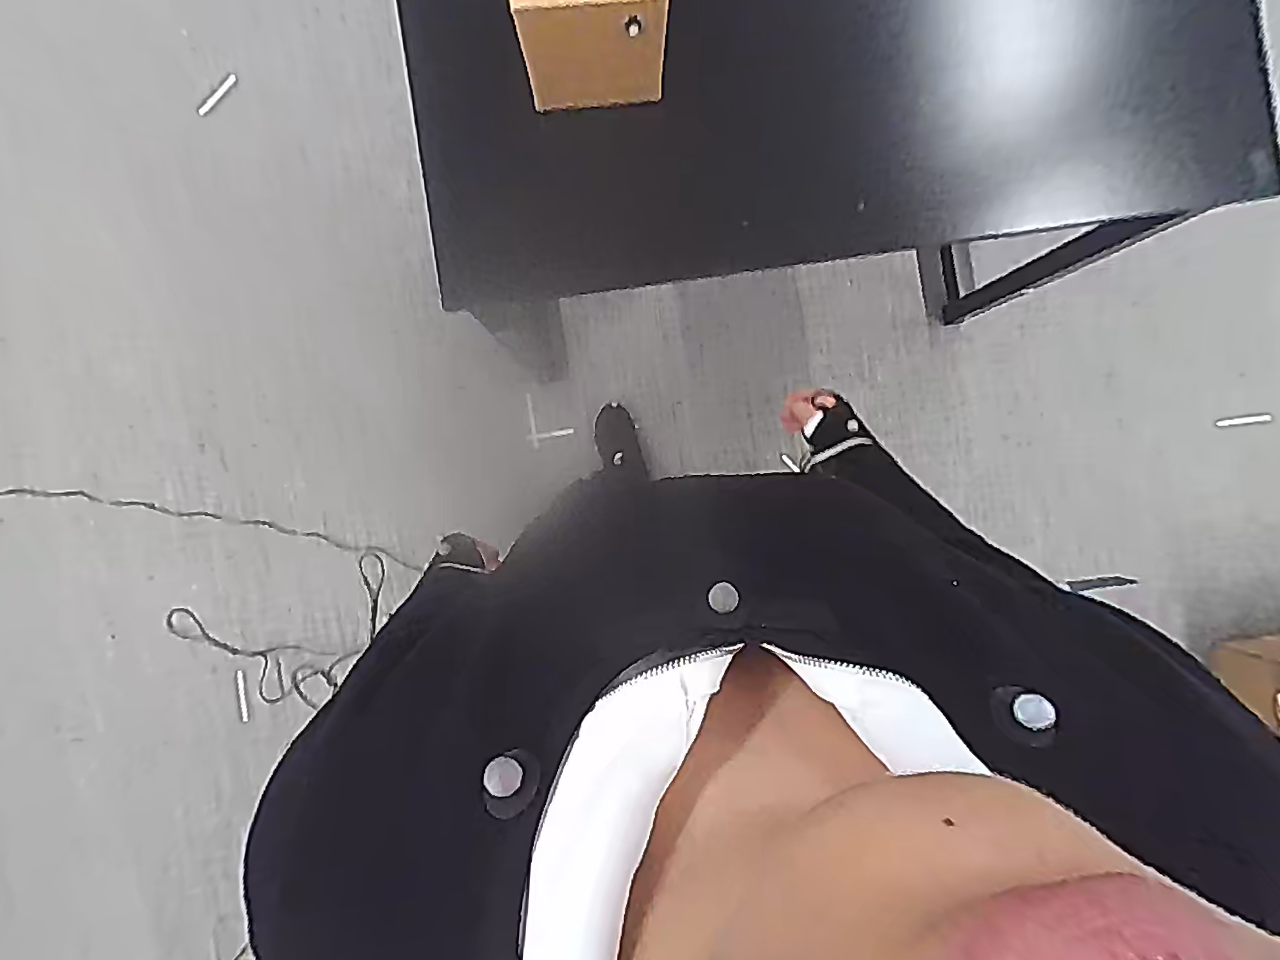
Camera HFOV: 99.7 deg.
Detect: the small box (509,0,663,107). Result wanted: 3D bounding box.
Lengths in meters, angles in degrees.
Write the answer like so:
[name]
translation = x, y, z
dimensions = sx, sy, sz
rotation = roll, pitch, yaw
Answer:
[small box]
translation = -0.068, -0.602, 0.674
dimensions = 0.179, 0.176, 0.168
rotation = -7, 91, -2
